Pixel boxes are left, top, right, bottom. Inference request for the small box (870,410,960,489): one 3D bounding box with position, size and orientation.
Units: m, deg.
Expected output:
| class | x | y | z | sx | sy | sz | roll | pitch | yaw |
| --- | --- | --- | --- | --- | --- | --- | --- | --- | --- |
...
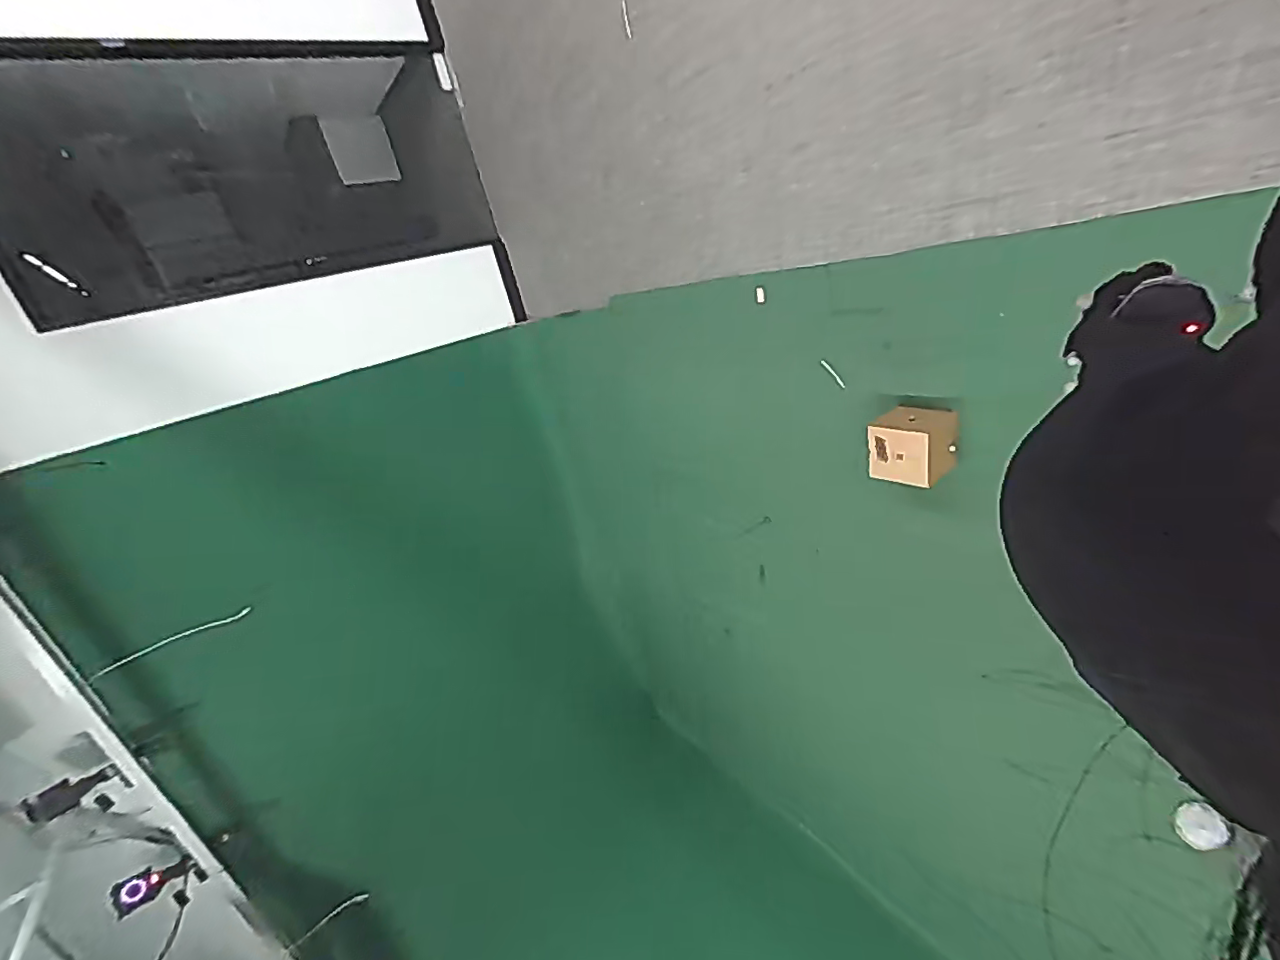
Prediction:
| class | x | y | z | sx | sy | sz | roll | pitch | yaw |
| --- | --- | --- | --- | --- | --- | --- | --- | --- | --- |
| small box | 0.787 | -0.096 | 1.553 | 0.179 | 0.176 | 0.168 | 18 | 128 | 50 |
